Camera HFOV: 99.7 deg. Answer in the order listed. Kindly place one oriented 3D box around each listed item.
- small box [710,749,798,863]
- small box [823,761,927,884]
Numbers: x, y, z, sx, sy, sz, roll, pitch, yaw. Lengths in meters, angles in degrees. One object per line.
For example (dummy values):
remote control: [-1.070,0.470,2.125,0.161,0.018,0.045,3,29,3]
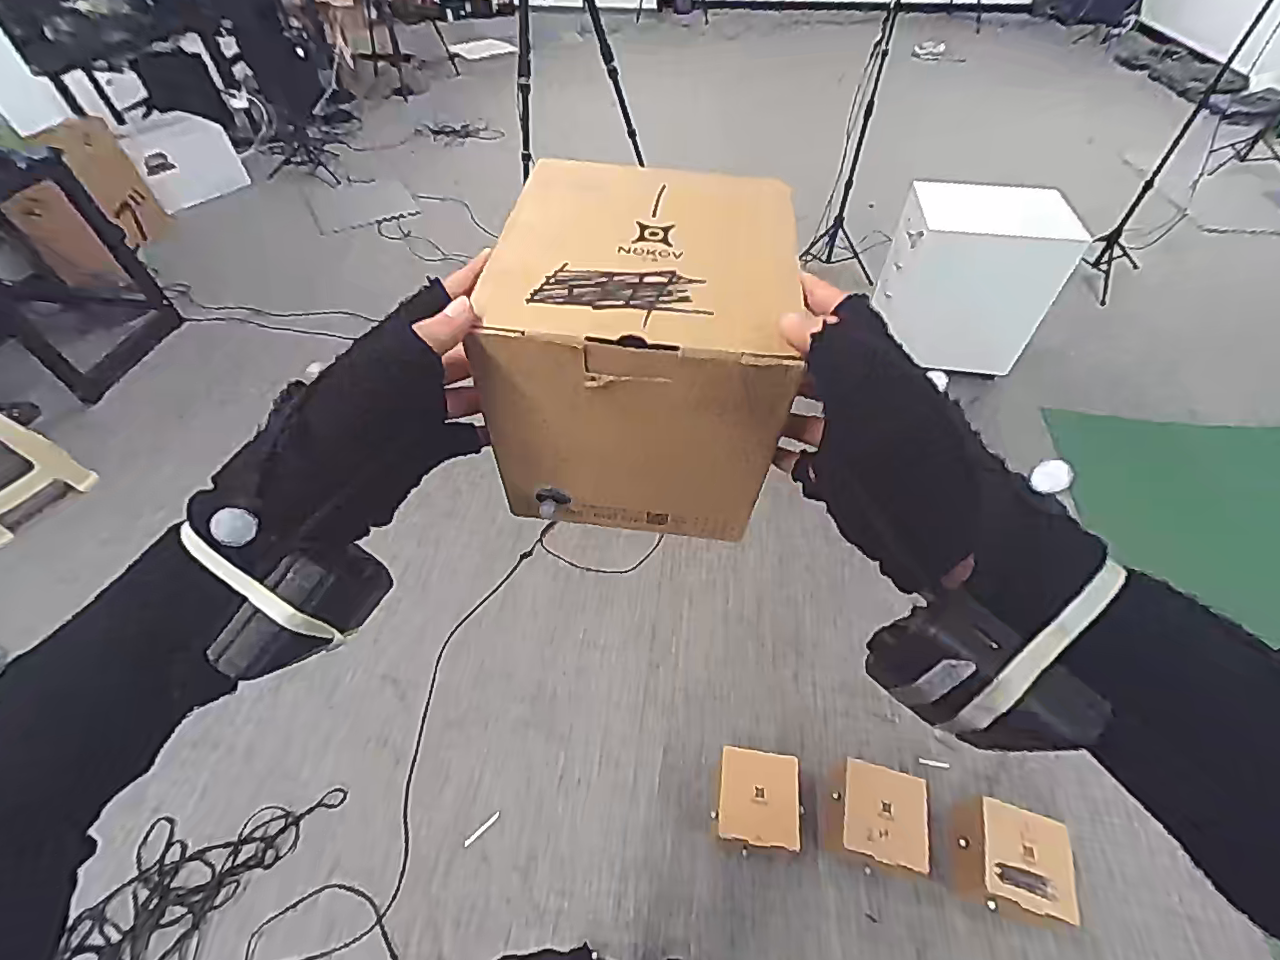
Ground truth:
small box: [0.249,0.723,1.198,0.168,0.176,0.179,6,51,6]
small box: [0.504,0.745,1.174,0.168,0.176,0.179,12,52,12]
